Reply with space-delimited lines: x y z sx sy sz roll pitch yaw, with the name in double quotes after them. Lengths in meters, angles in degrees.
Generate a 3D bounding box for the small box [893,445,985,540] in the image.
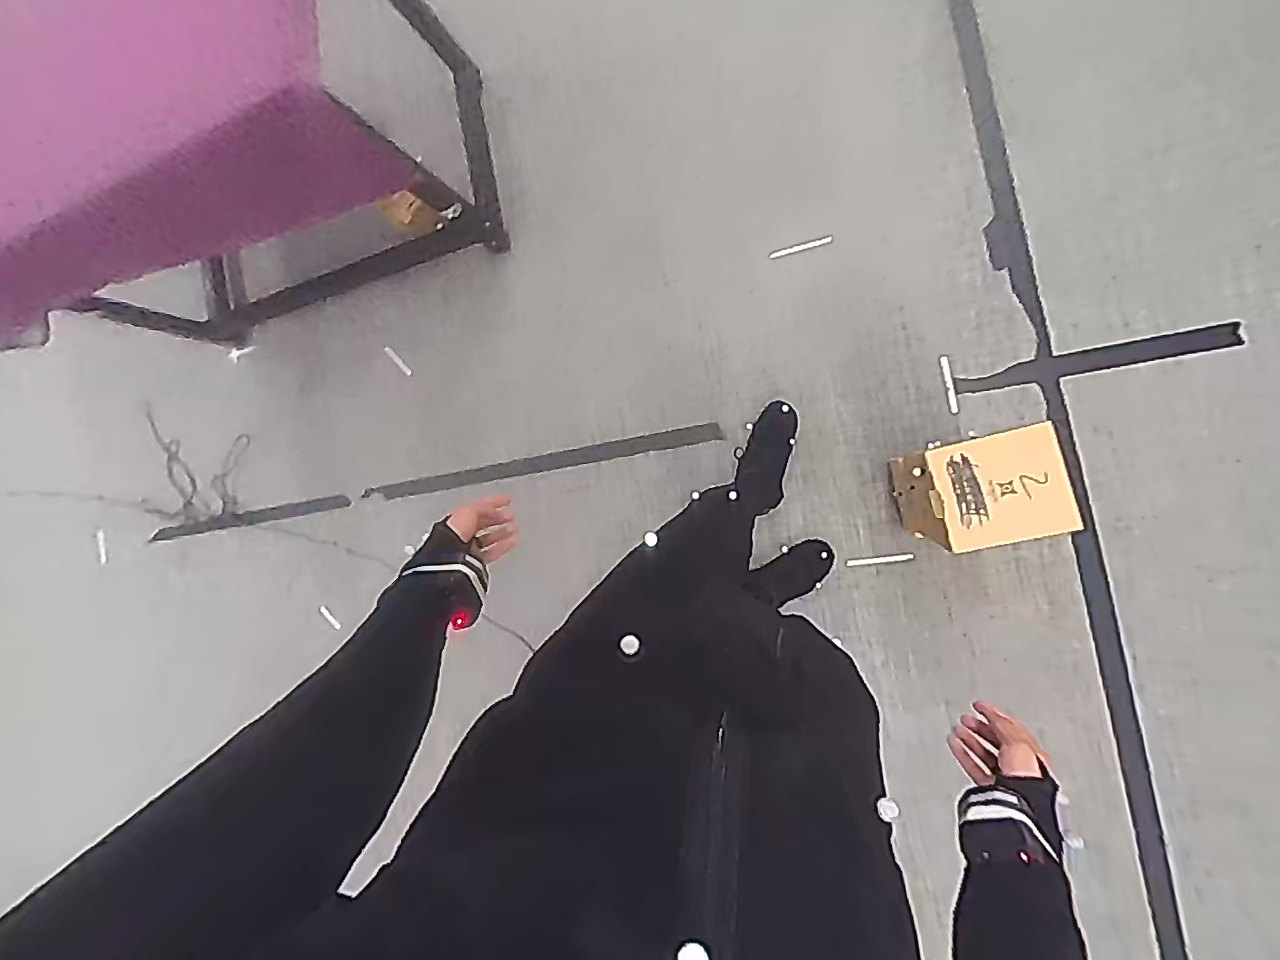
0.670 0.025 1.192 0.168 0.176 0.179 -12 86 18 "small box"

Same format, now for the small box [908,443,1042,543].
0.629 0.022 1.035 0.179 0.176 0.168 -8 89 19 "small box"
